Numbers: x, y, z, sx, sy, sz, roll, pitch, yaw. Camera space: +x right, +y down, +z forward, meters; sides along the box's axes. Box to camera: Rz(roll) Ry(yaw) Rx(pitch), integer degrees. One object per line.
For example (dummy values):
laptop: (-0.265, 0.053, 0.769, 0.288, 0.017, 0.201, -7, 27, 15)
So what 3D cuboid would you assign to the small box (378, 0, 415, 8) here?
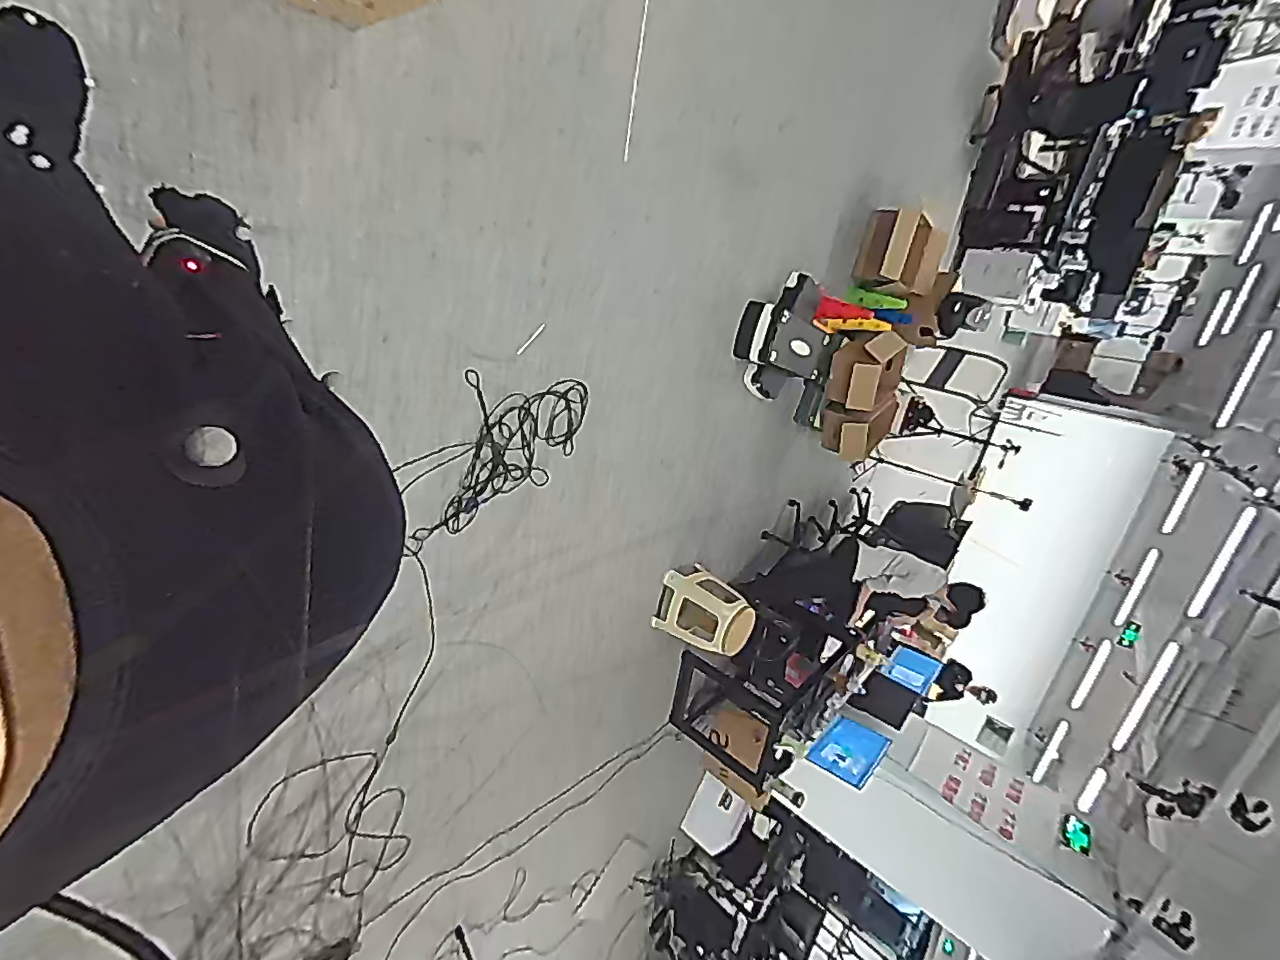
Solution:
small box: (-0.473, -0.985, 0.956, 0.168, 0.176, 0.179, -15, 120, -47)
